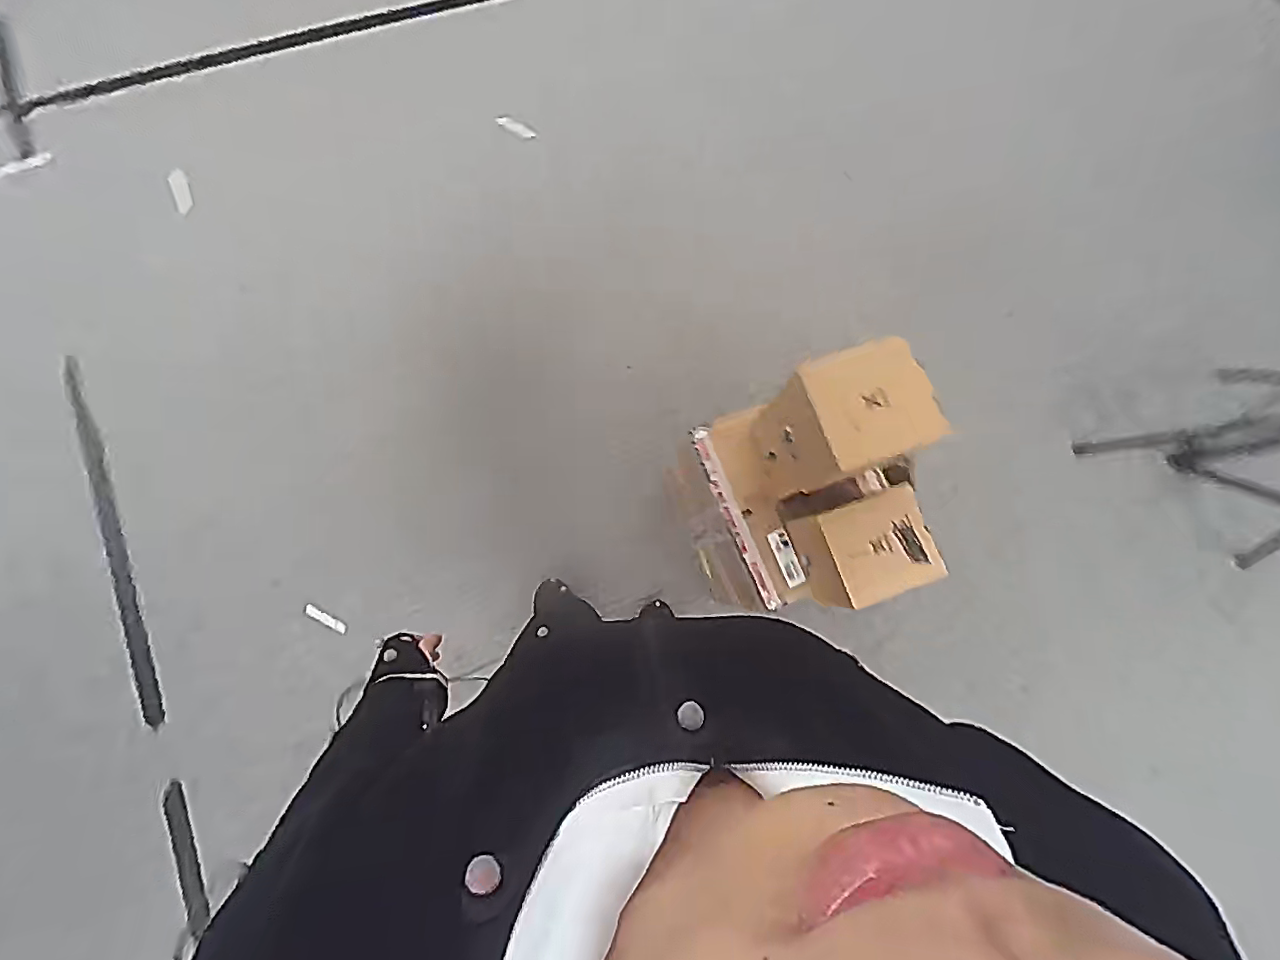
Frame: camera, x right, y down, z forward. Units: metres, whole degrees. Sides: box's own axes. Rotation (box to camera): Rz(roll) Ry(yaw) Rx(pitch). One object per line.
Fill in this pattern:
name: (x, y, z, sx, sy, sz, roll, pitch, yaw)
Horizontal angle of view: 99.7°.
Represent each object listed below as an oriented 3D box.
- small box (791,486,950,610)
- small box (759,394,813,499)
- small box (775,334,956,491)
small box: (0.401, 0.120, 0.970, 0.179, 0.176, 0.168, -19, 82, -5)
small box: (0.333, -0.075, 1.001, 0.179, 0.176, 0.168, -18, 80, -4)
small box: (0.334, -0.095, 0.839, 0.179, 0.176, 0.168, -18, 79, -4)
